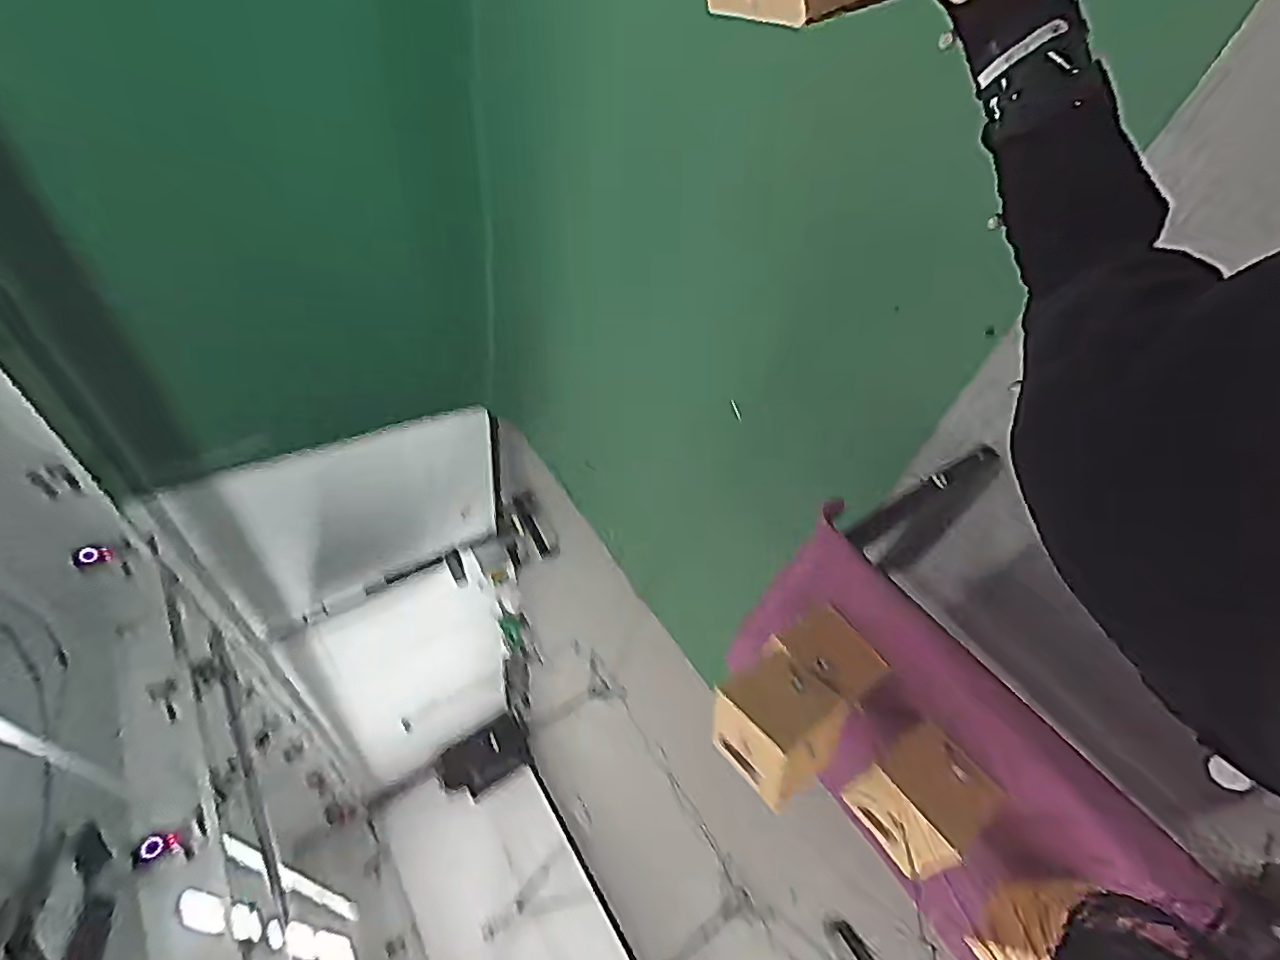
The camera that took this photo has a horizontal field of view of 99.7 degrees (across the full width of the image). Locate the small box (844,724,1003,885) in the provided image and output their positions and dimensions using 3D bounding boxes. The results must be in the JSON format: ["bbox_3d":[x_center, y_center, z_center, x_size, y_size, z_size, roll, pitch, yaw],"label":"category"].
[{"bbox_3d":[0.521,0.594,0.999,0.168,0.176,0.179,46,143,32],"label":"small box"}]

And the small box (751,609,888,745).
[{"bbox_3d":[0.369,0.400,1.114,0.179,0.176,0.168,50,146,28],"label":"small box"}]

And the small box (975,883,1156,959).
[{"bbox_3d":[0.691,0.780,0.854,0.168,0.176,0.179,56,149,18],"label":"small box"}]
